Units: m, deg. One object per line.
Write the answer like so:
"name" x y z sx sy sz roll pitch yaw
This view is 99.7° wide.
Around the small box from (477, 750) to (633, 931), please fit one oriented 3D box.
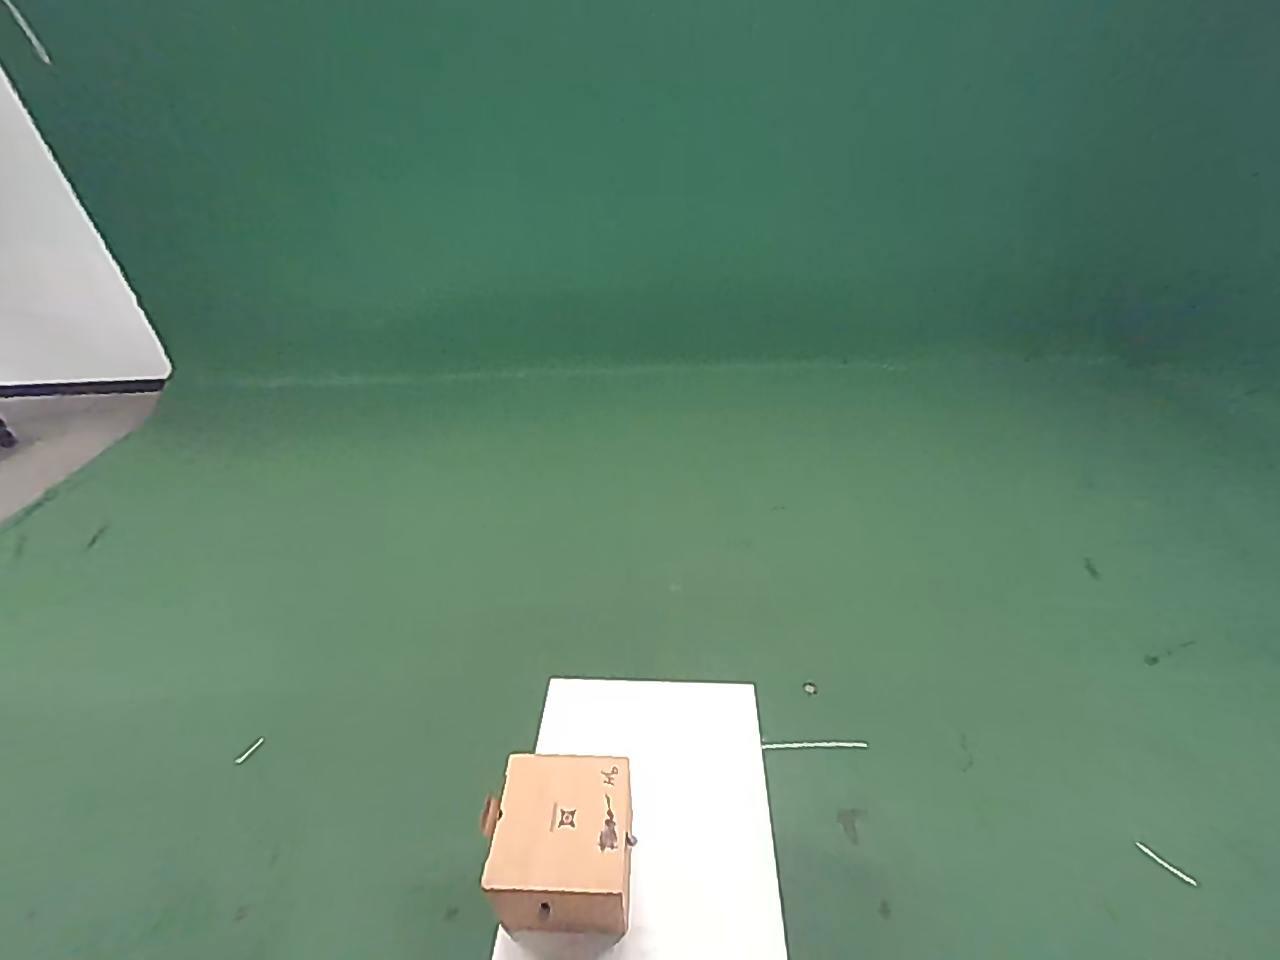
"small box" -0.104 0.500 0.752 0.179 0.176 0.168 0 37 2
